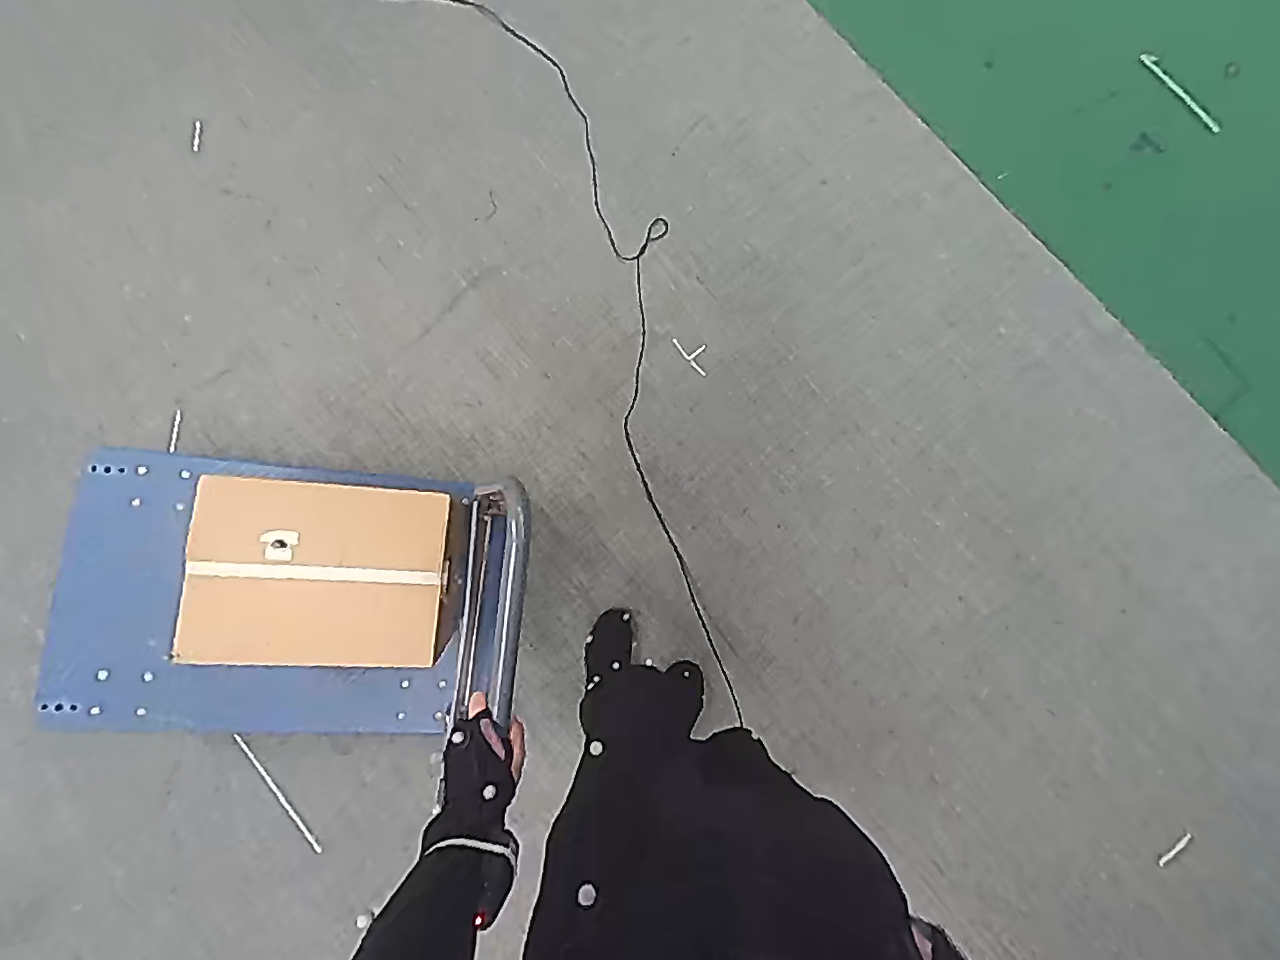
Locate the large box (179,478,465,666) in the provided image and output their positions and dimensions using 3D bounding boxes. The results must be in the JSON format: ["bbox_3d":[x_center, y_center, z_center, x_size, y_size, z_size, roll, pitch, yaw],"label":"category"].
[{"bbox_3d":[-0.579,0.173,1.077,0.408,0.320,0.320,5,83,-12],"label":"large box"}]
